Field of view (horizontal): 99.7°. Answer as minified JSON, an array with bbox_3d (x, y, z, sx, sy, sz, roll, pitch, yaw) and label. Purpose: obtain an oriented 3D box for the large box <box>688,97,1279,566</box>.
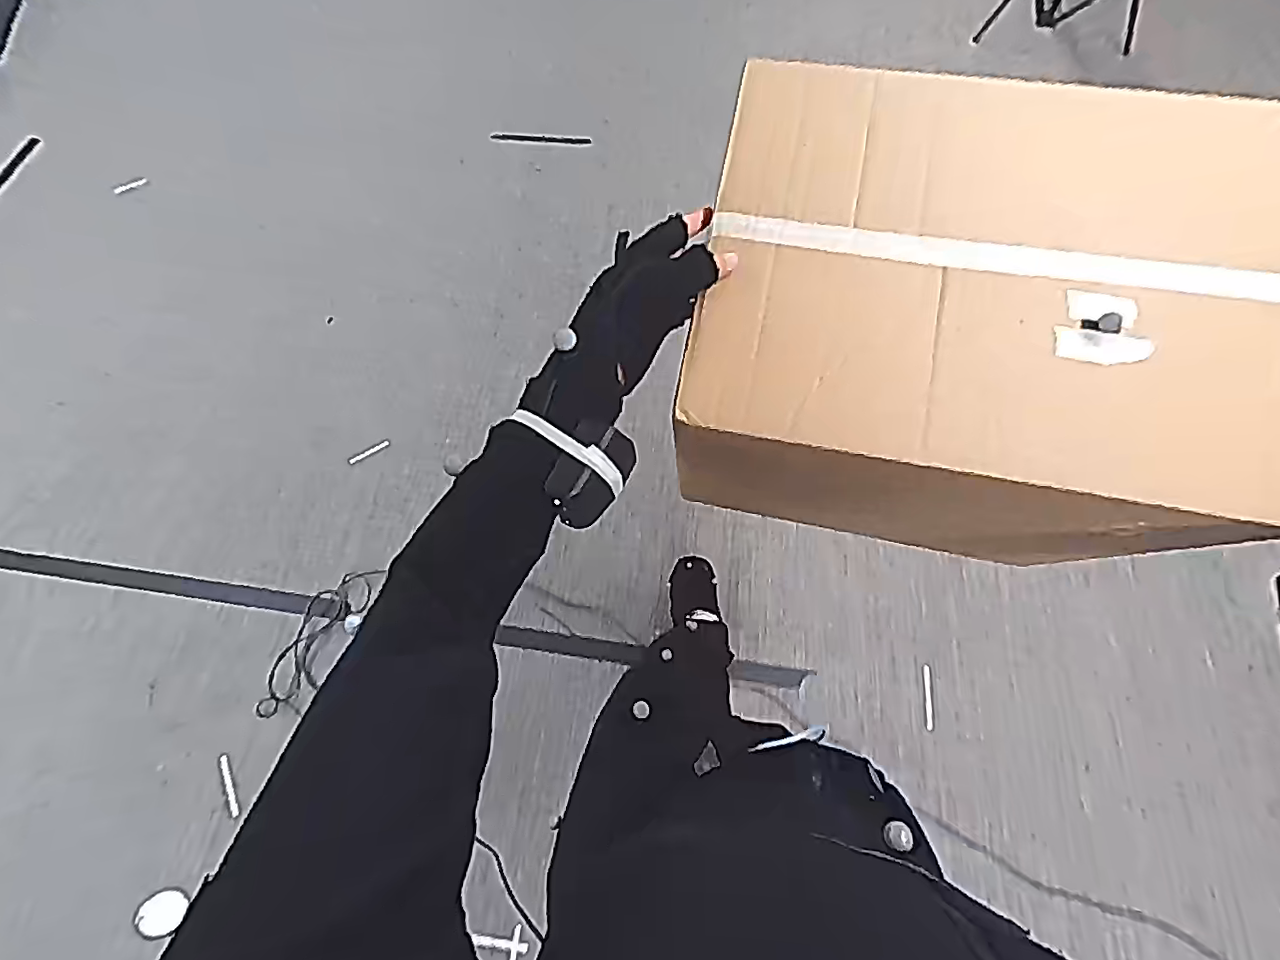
[{"bbox_3d":[0.269,-0.111,0.544,0.408,0.320,0.320,11,79,7],"label":"large box"}]
